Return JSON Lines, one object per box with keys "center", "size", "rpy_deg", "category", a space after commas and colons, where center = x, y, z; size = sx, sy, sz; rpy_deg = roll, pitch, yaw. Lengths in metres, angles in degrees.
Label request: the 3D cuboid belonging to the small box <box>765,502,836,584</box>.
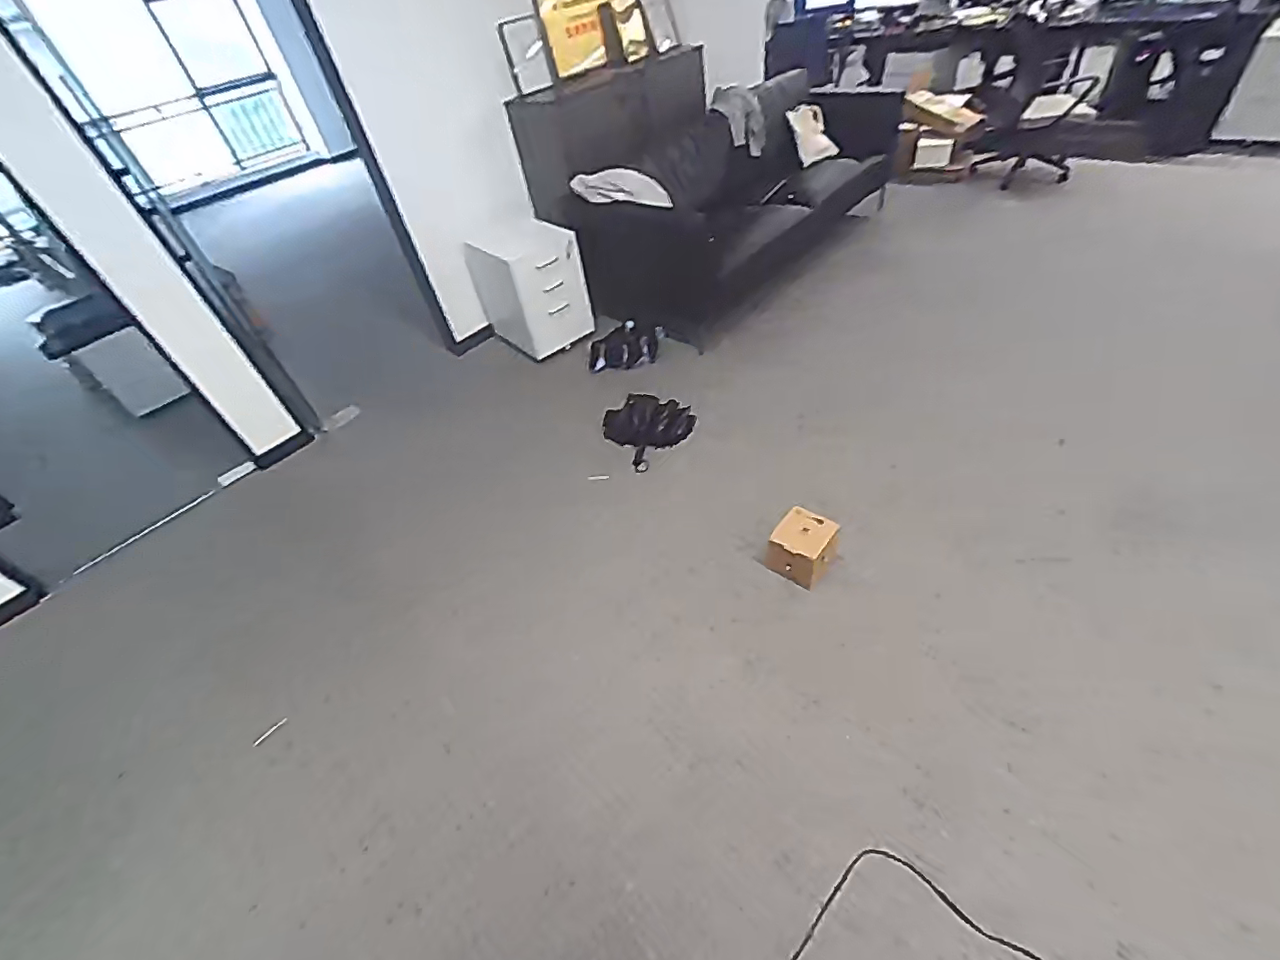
{"center": [0.531, 0.213, 1.790], "size": [0.168, 0.176, 0.179], "rpy_deg": [27, 57, 32], "category": "small box"}
